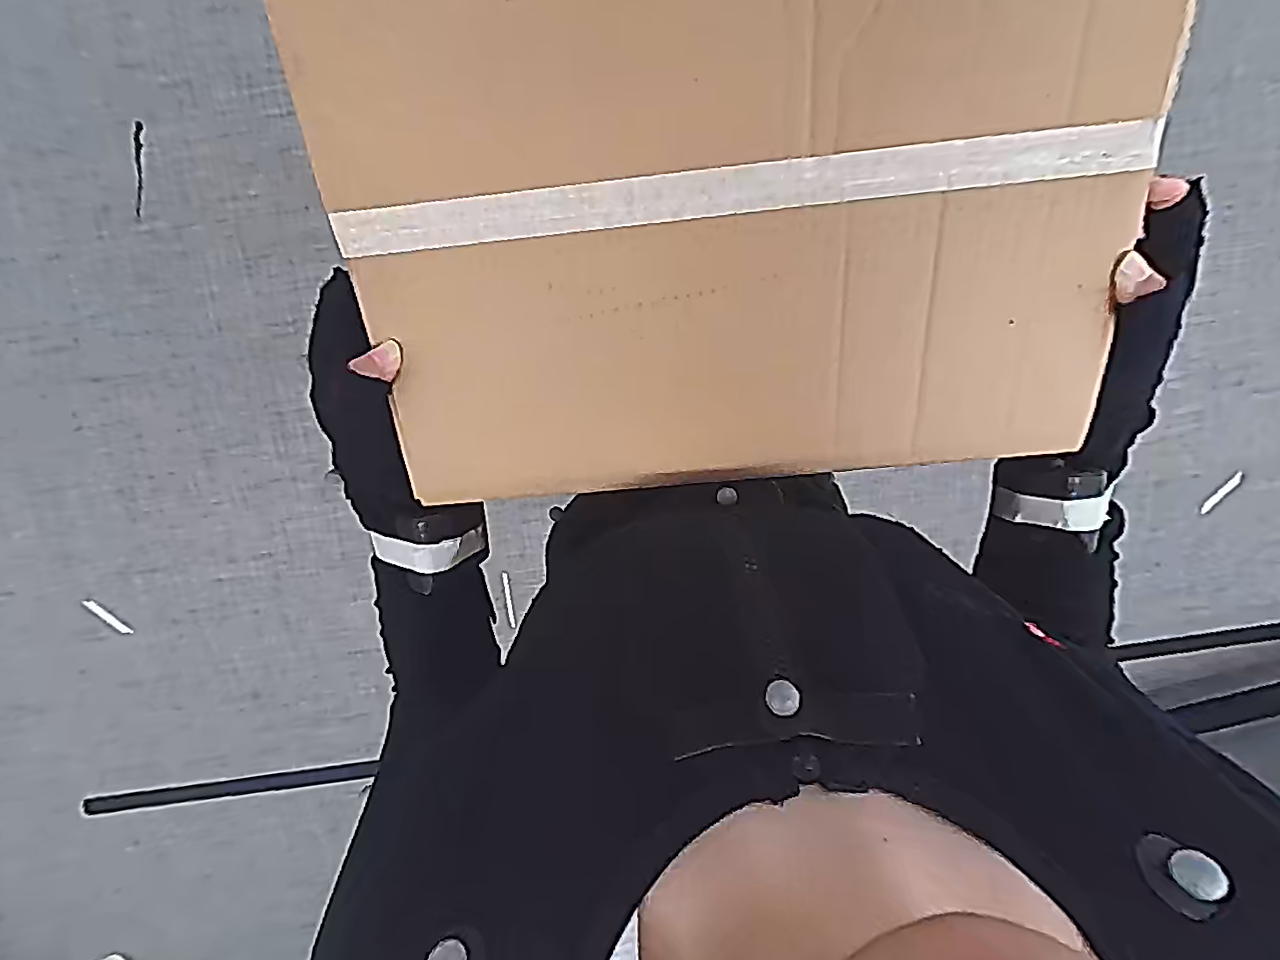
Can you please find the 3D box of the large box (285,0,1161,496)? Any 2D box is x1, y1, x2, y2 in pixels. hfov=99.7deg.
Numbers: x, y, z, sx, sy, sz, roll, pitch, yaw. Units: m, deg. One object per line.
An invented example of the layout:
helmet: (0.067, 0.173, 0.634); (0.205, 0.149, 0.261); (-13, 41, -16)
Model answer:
large box: (0.042, -0.207, 0.416); (0.408, 0.320, 0.320); (-5, 115, 2)
